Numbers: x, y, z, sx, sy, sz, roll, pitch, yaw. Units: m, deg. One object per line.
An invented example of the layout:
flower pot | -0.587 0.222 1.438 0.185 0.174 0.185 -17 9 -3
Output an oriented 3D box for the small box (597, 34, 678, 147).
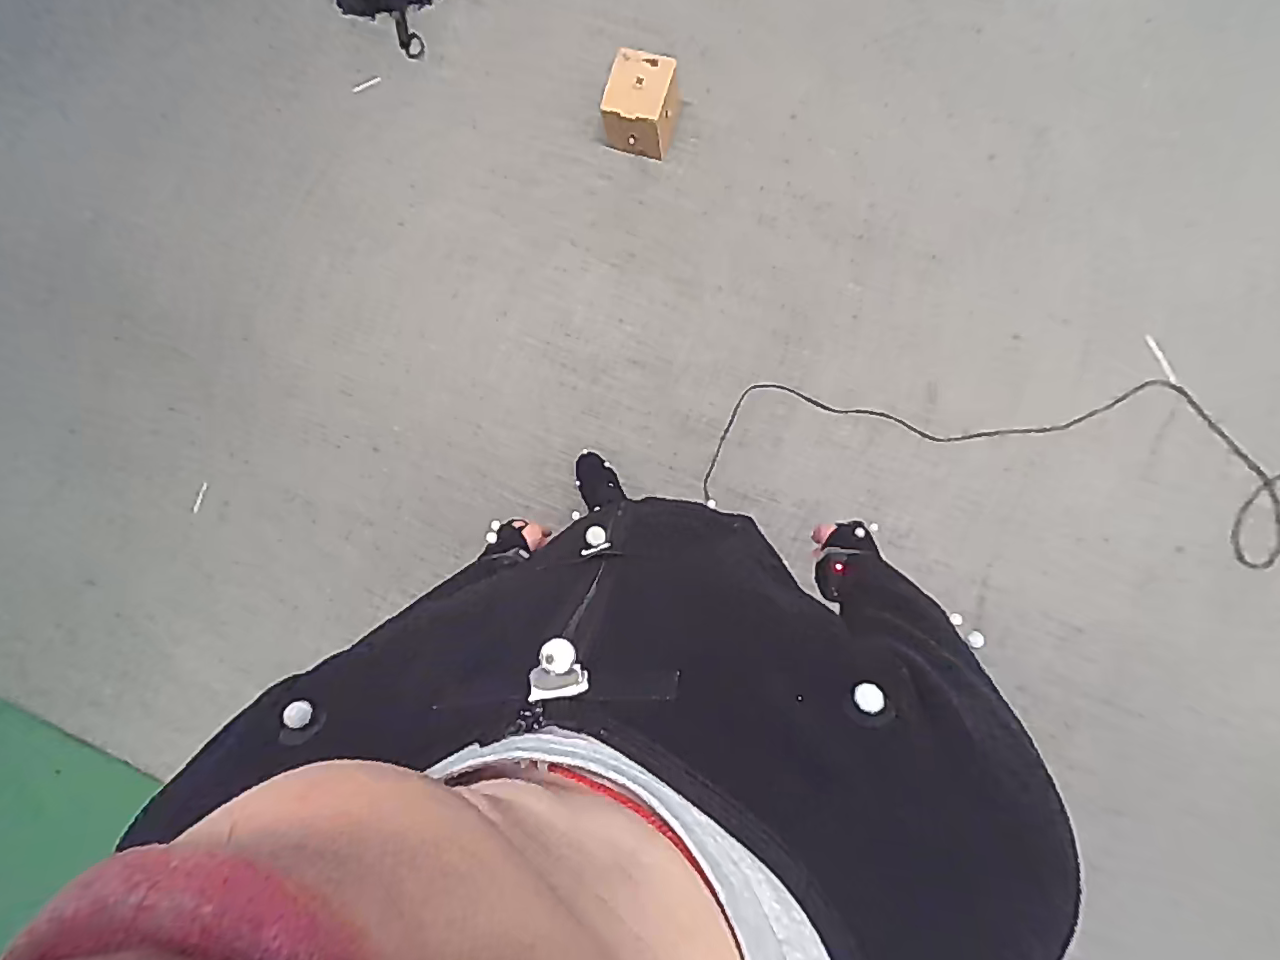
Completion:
small box | 0.001 -1.055 1.478 0.168 0.176 0.179 18 93 7
